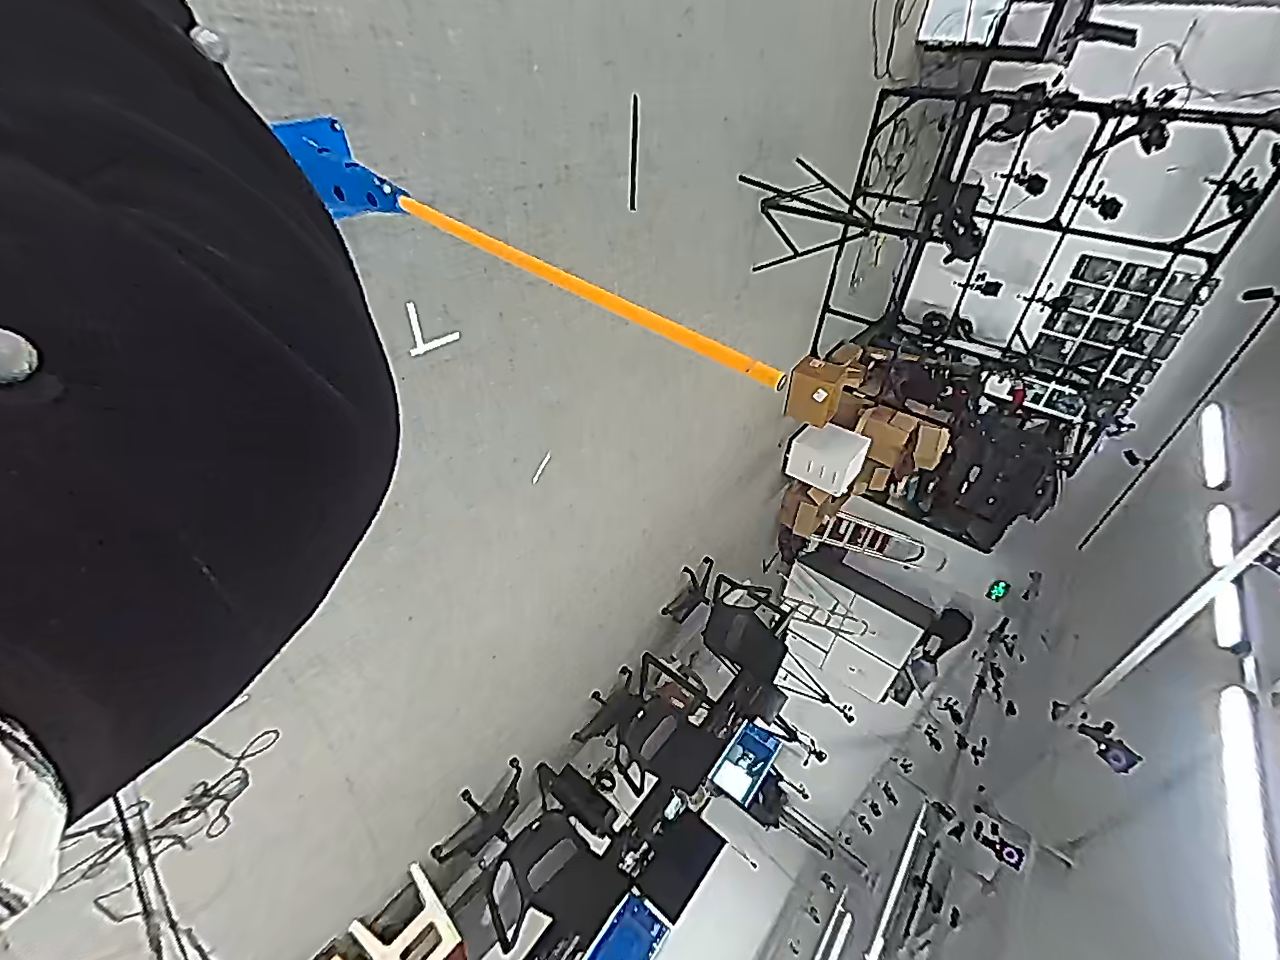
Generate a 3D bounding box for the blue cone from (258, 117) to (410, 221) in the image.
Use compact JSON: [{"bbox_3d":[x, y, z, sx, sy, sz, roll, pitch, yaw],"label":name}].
[{"bbox_3d":[-0.606,-0.632,1.144,0.193,0.380,0.192,-39,144,-36],"label":"blue cone"}]
